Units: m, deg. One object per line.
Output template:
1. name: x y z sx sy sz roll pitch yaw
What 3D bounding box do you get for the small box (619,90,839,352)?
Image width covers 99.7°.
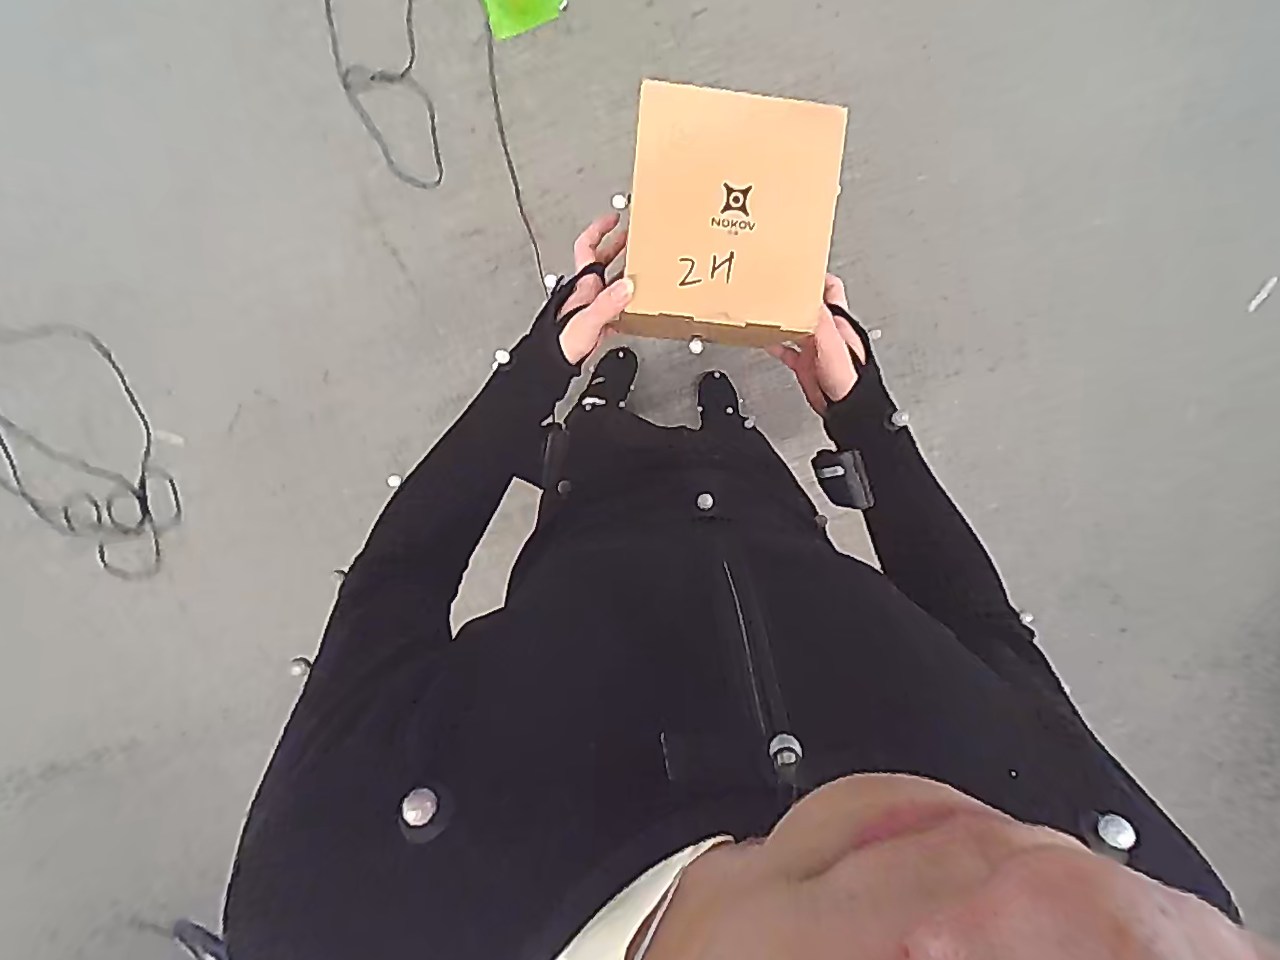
1. small box: 0.069 -0.227 0.522 0.168 0.176 0.179 5 98 -4

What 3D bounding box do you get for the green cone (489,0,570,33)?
1. green cone: -0.296 -1.204 1.167 0.202 0.368 0.200 -18 102 7
